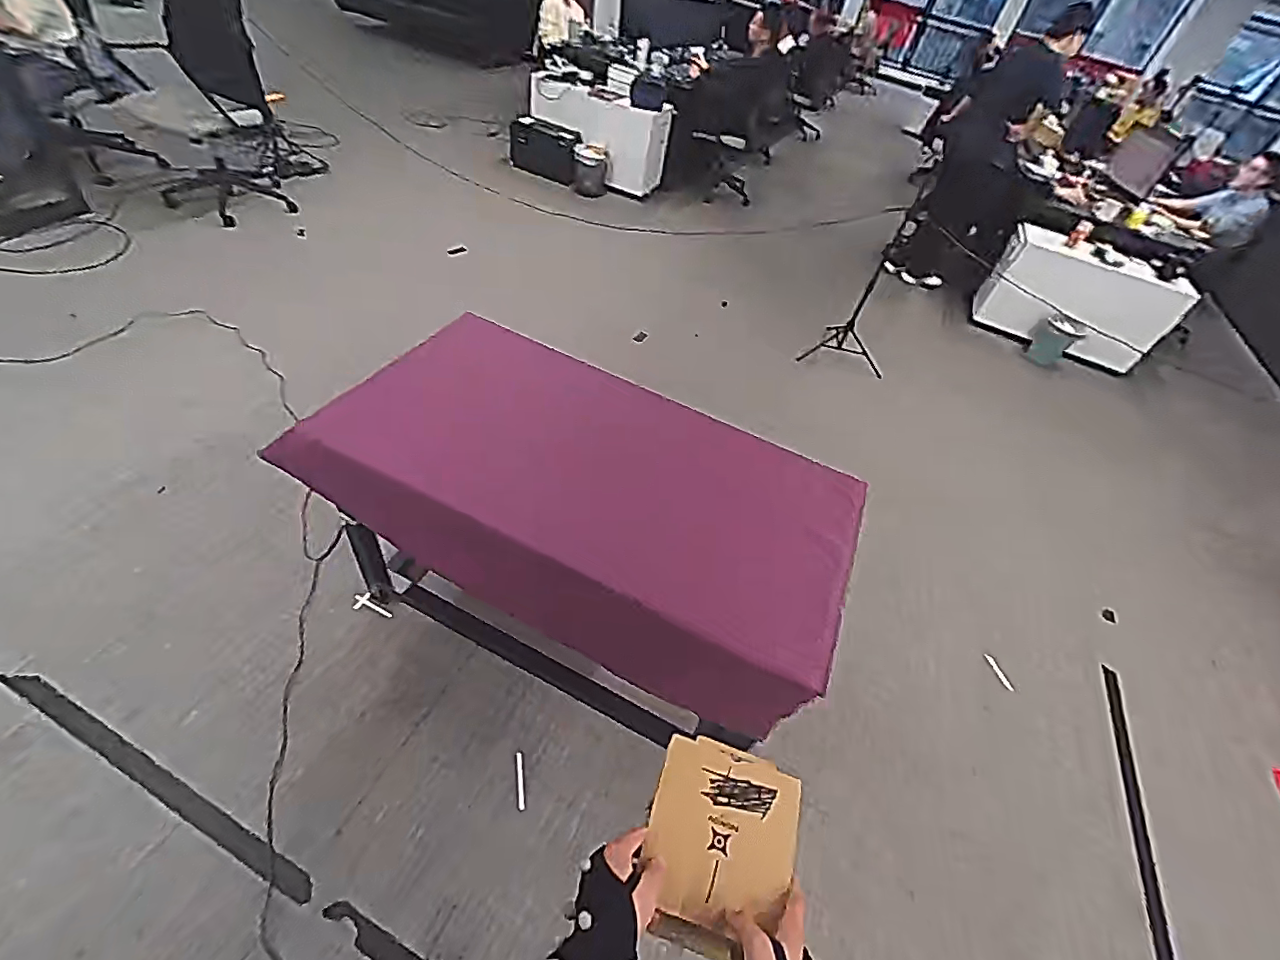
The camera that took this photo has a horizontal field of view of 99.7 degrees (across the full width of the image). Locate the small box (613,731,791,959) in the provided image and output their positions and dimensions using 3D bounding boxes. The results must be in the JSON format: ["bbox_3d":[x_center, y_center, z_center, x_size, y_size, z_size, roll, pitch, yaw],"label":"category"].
[{"bbox_3d":[0.071,0.449,0.662,0.168,0.176,0.179,17,45,8],"label":"small box"}]
